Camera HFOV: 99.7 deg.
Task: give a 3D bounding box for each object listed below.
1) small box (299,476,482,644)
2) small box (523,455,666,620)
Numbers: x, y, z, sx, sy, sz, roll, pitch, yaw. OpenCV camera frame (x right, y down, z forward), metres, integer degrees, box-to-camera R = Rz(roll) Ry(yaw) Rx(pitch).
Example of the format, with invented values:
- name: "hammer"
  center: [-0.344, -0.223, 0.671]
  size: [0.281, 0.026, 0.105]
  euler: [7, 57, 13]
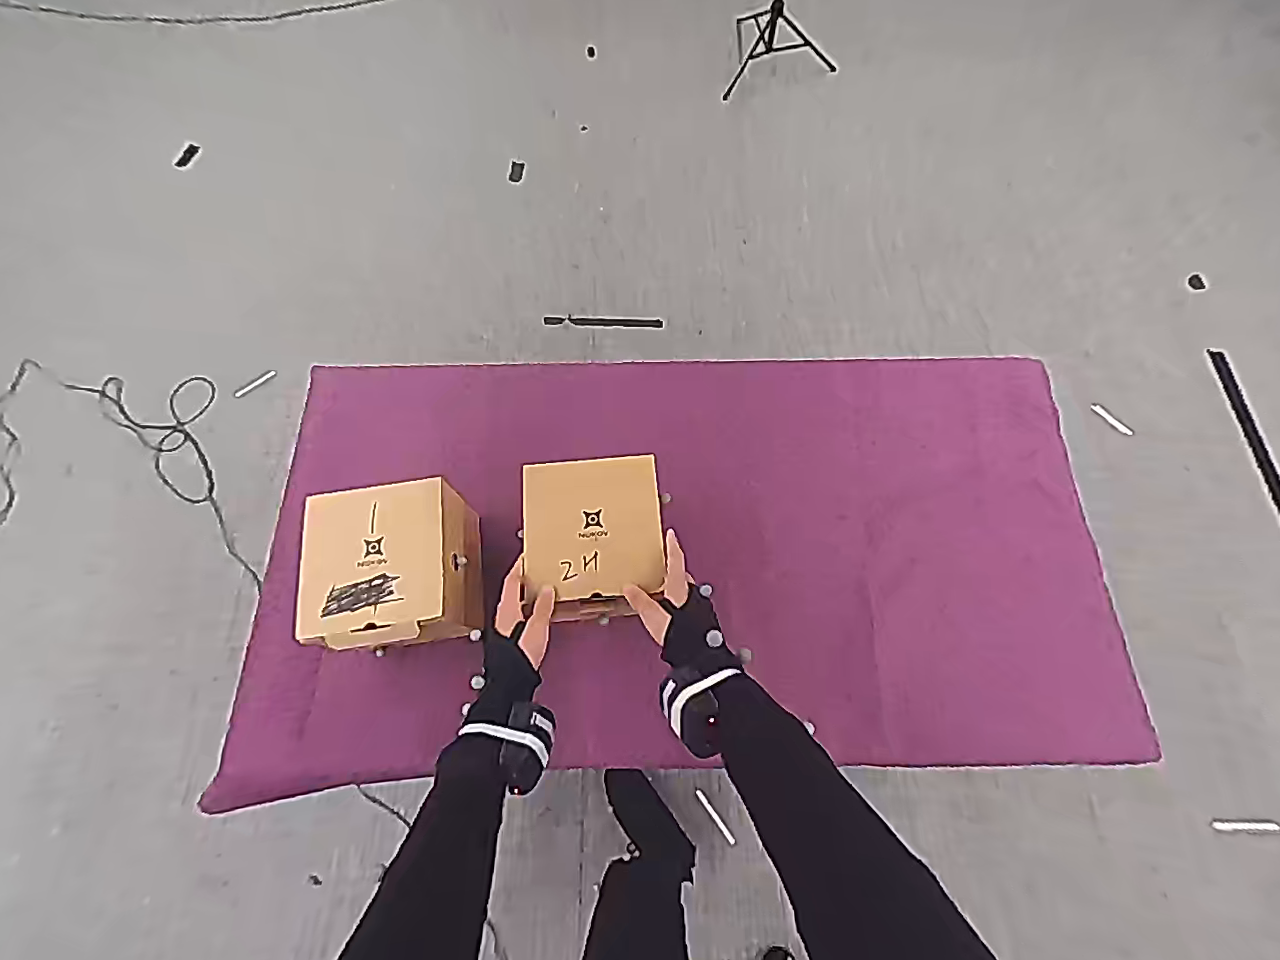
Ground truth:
- name: "small box"
  center: [-0.312, 0.114, 0.710]
  size: [0.168, 0.176, 0.179]
  euler: [-8, 68, -3]
- name: "small box"
  center: [-0.057, 0.082, 0.720]
  size: [0.168, 0.176, 0.179]
  euler: [-5, 69, -1]
